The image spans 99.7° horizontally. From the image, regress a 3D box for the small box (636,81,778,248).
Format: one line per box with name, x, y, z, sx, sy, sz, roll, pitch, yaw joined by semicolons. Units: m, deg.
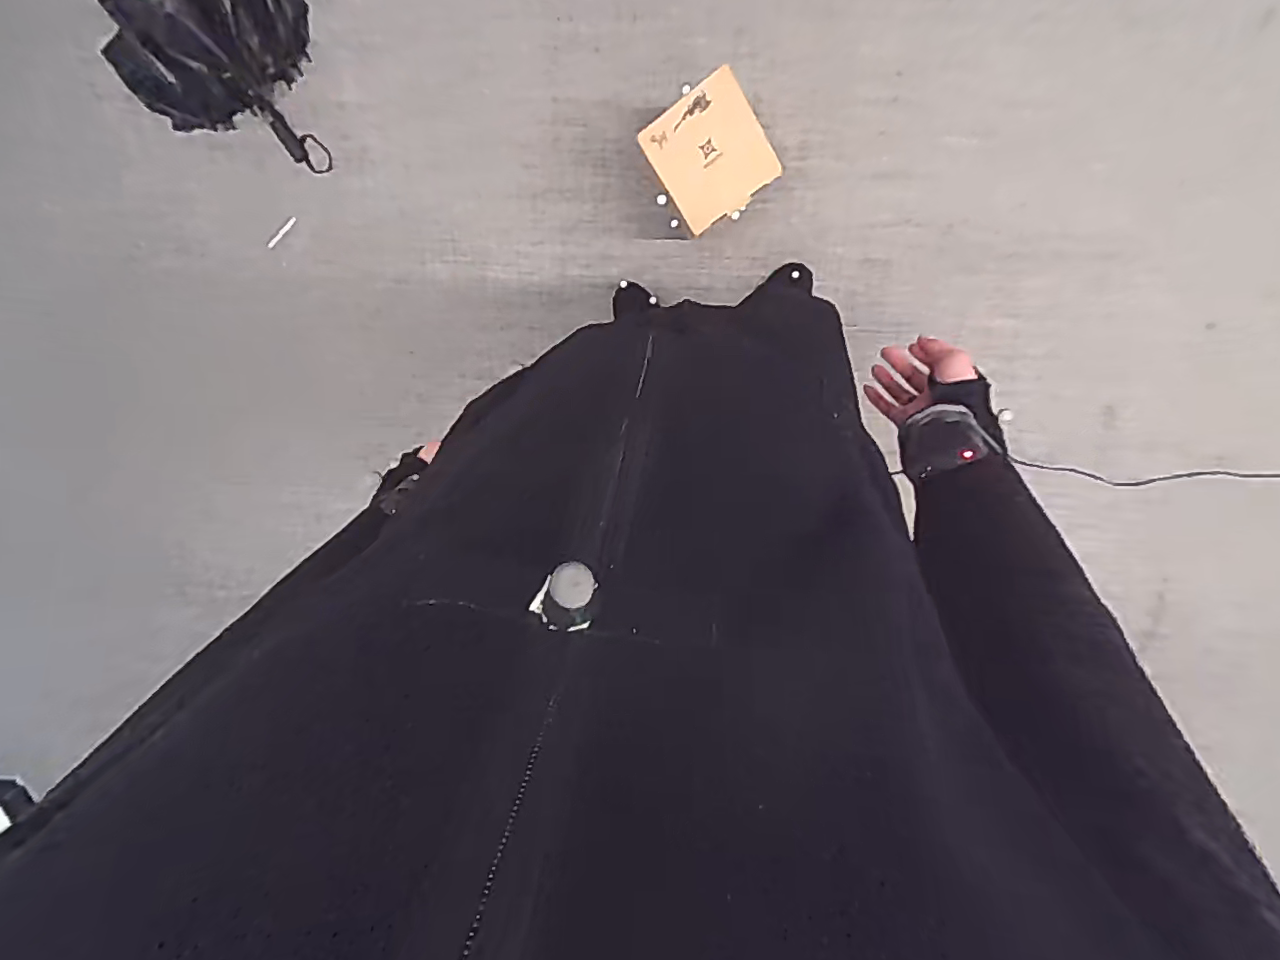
small box;0.110;-0.524;0.924;0.168;0.176;0.179;-32;109;14
